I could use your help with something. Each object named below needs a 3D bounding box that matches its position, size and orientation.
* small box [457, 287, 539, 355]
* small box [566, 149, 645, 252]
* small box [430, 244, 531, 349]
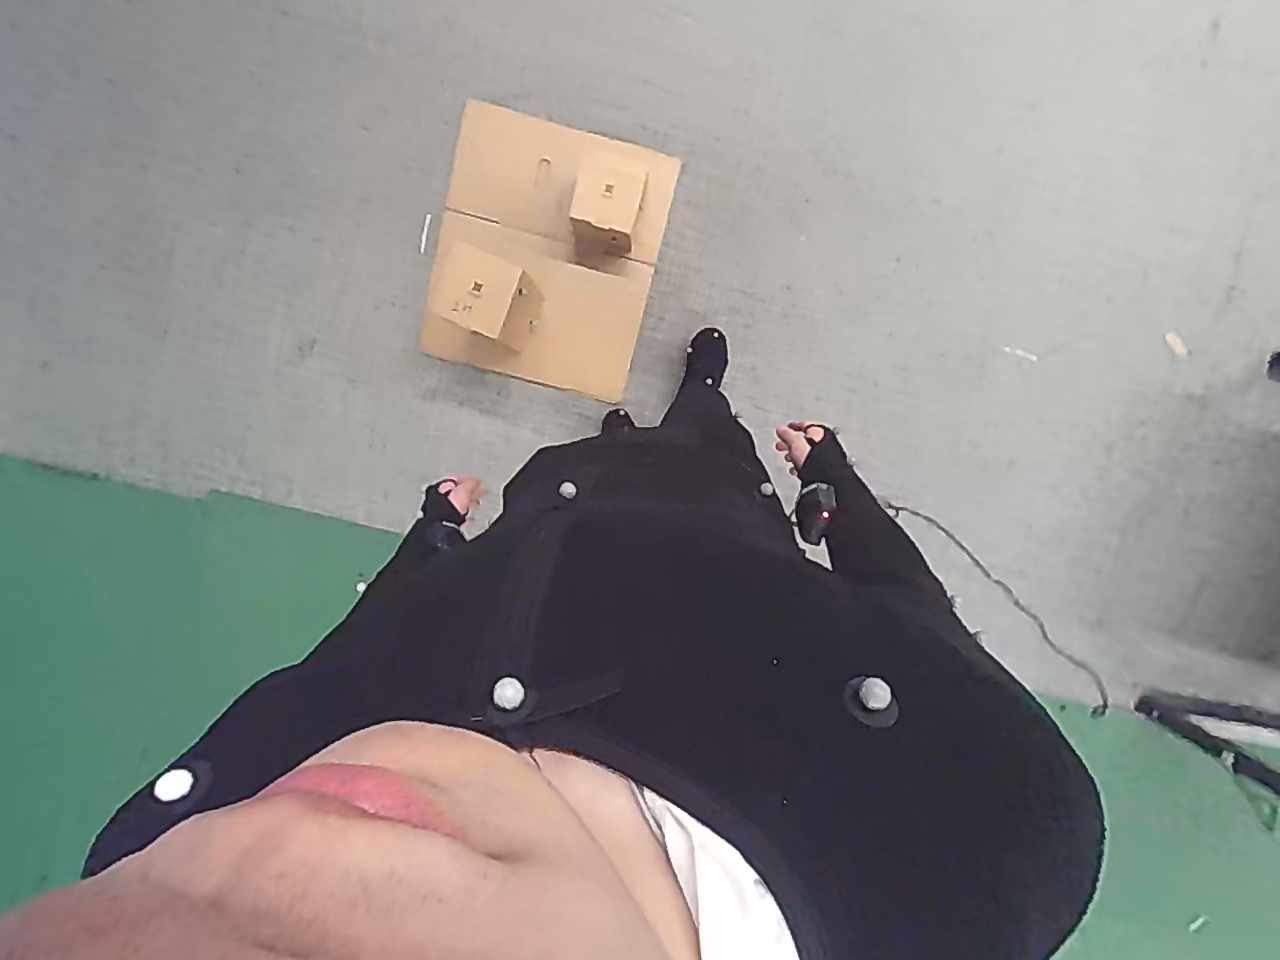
[{"bbox_3d":[-0.383,-0.454,1.463,0.168,0.176,0.179,22,97,-4],"label":"small box"},{"bbox_3d":[-0.086,-0.727,1.430,0.168,0.176,0.179,15,98,-3],"label":"small box"},{"bbox_3d":[-0.373,-0.431,1.299,0.168,0.176,0.179,22,98,-4],"label":"small box"}]
